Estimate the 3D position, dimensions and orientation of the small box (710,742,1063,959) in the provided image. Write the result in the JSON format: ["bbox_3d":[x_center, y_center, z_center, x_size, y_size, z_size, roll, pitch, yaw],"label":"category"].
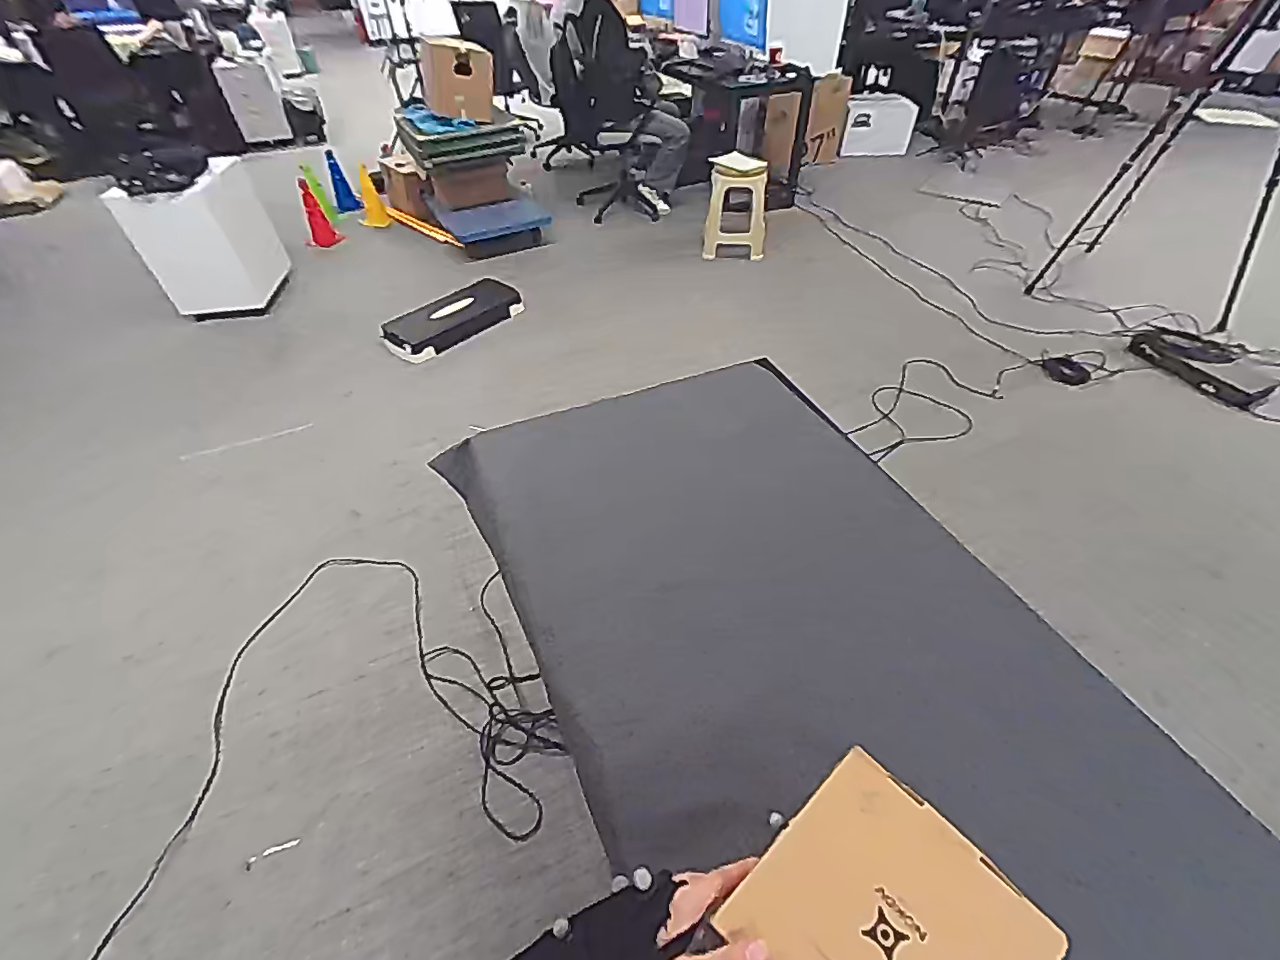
[{"bbox_3d":[0.169,0.353,0.422,0.179,0.176,0.168,-34,54,-26],"label":"small box"}]
